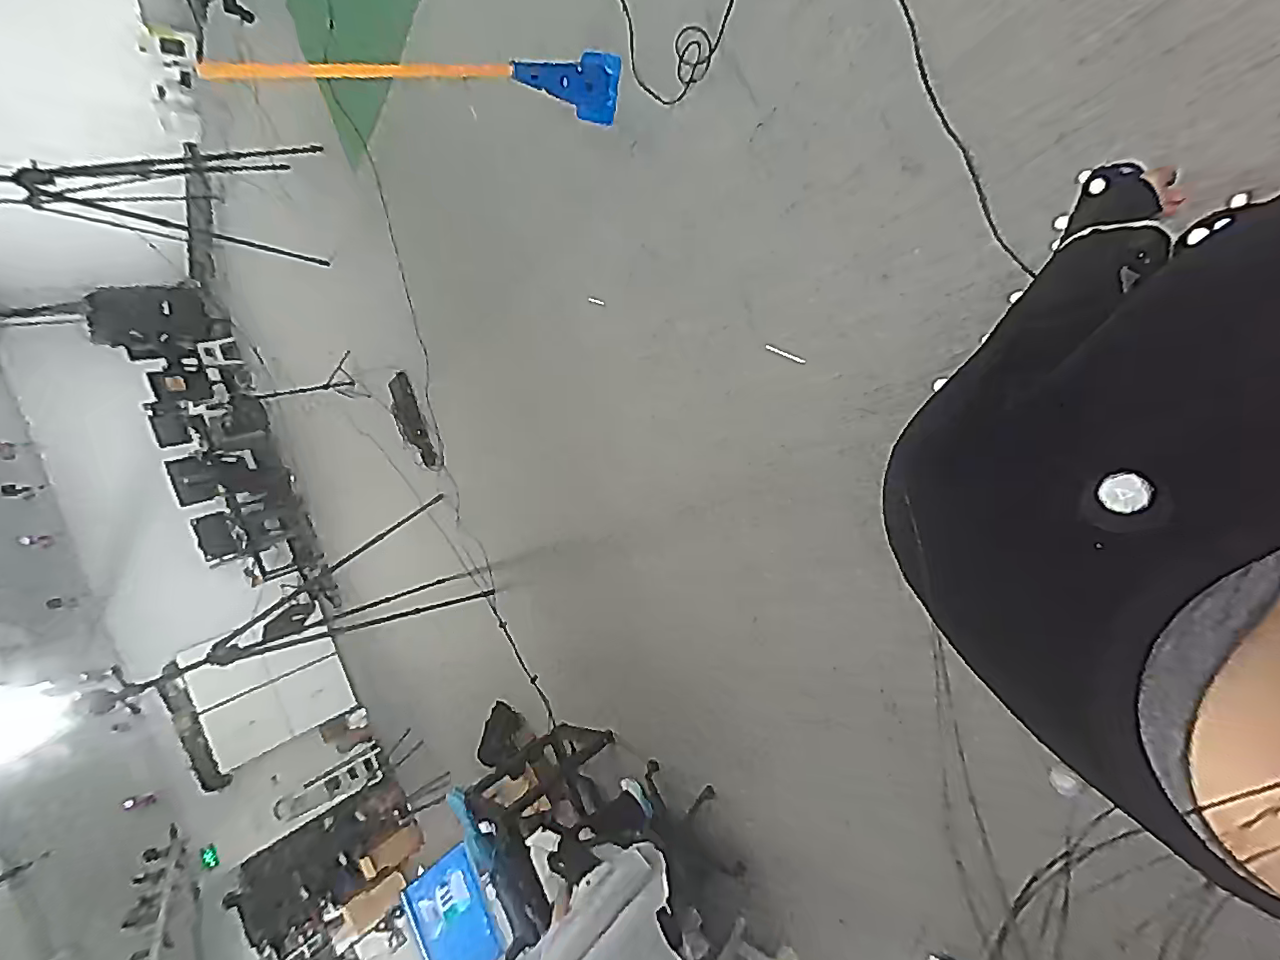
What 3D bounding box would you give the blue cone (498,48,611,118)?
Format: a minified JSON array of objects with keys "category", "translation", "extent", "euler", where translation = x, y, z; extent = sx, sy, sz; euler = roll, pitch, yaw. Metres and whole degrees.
[{"category":"blue cone","translation":[-0.284,-1.310,1.751],"extent":[0.192,0.380,0.193],"euler":[34,131,31]}]
